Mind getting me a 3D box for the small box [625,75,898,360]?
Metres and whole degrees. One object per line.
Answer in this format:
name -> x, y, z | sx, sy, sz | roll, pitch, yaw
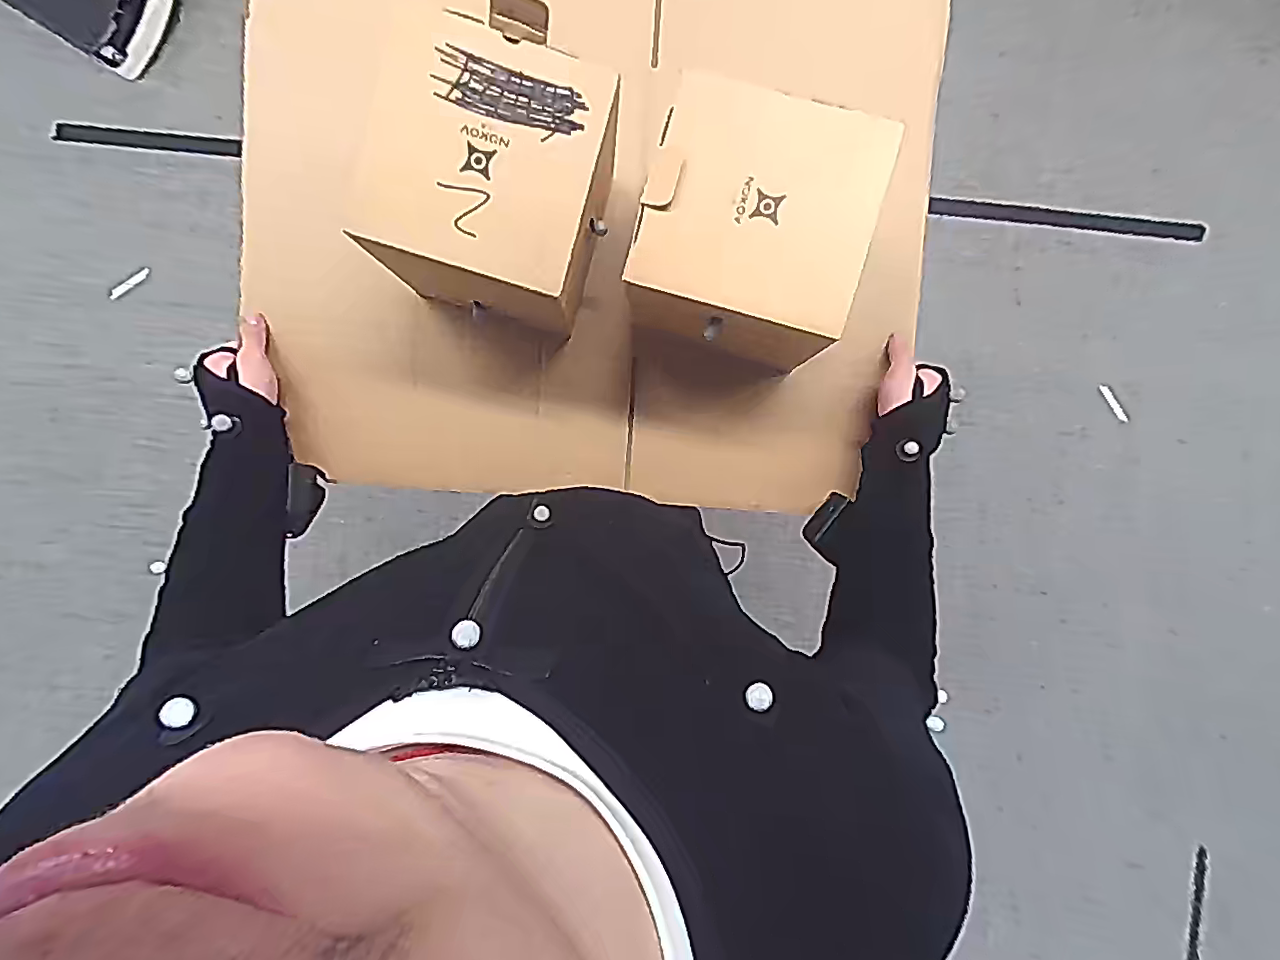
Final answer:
small box -> 0.098, -0.218, 0.500 | 0.179, 0.176, 0.168 | 16, 94, 3
